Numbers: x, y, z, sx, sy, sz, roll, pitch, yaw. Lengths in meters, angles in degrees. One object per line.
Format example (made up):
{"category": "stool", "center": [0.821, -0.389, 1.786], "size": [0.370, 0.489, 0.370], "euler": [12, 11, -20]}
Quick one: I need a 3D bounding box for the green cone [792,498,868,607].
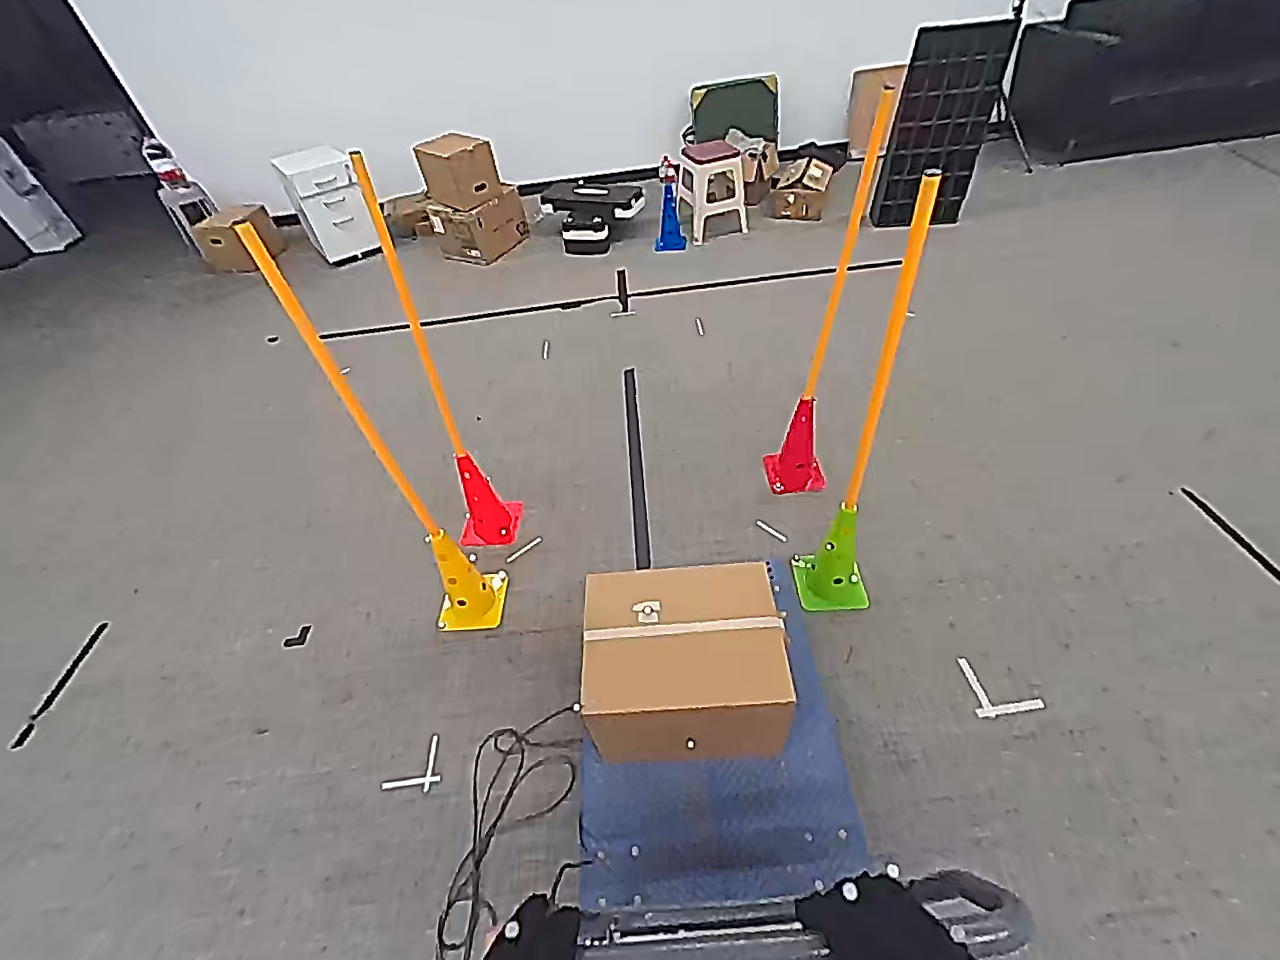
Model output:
{"category": "green cone", "center": [0.576, 0.191, 1.570], "size": [0.202, 0.368, 0.200], "euler": [-4, 46, 3]}

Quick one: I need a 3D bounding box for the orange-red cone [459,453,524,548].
{"category": "orange-red cone", "center": [-0.554, 0.047, 1.872], "size": [0.198, 0.360, 0.199], "euler": [-1, 45, 6]}

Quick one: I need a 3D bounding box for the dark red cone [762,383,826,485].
{"category": "dark red cone", "center": [0.559, -0.169, 1.896], "size": [0.201, 0.394, 0.202], "euler": [-6, 46, 0]}

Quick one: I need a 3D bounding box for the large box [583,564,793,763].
{"category": "large box", "center": [0.101, 0.418, 1.218], "size": [0.408, 0.320, 0.320], "euler": [-6, 46, 4]}
